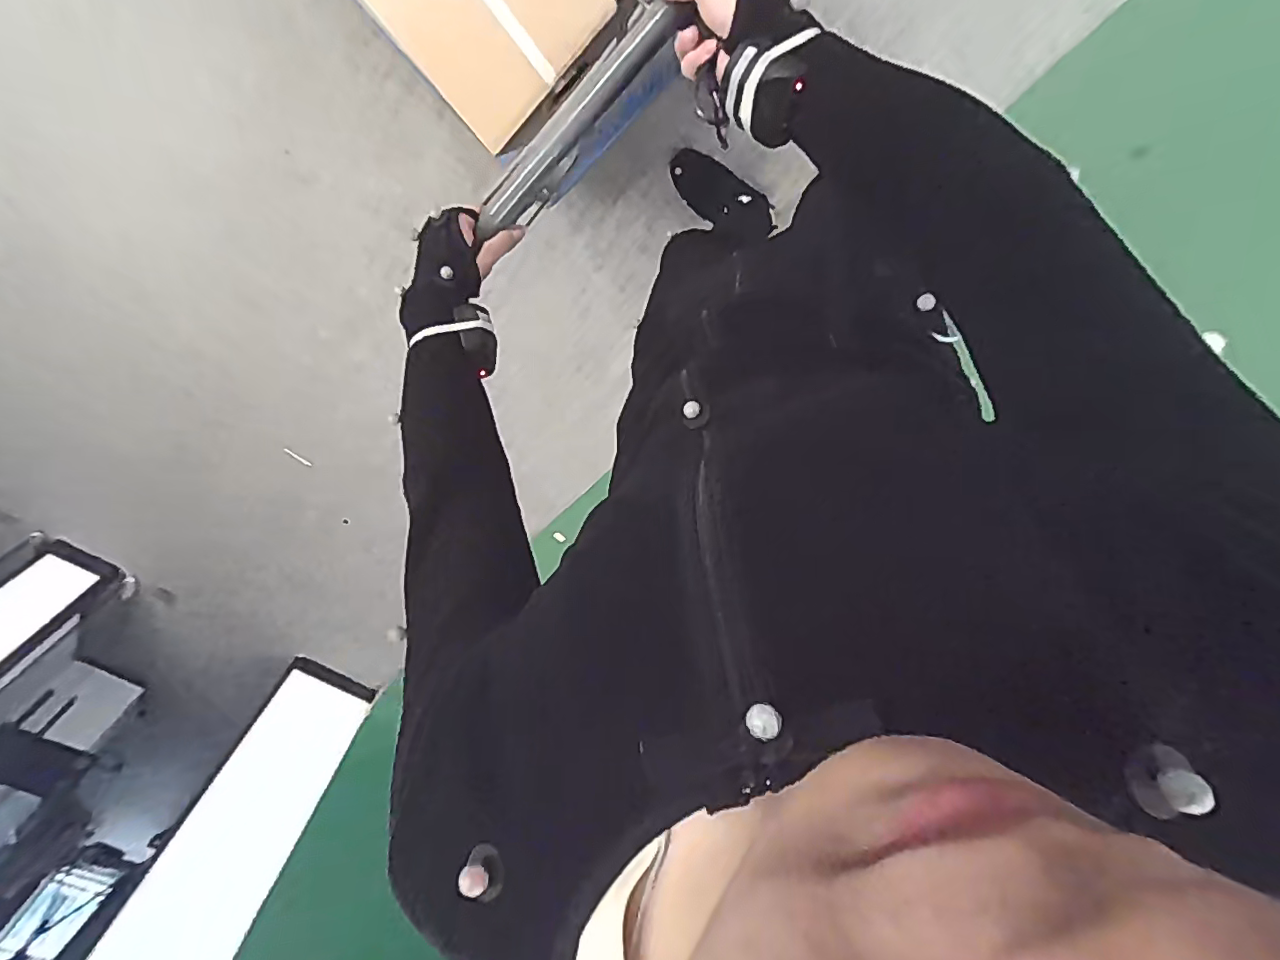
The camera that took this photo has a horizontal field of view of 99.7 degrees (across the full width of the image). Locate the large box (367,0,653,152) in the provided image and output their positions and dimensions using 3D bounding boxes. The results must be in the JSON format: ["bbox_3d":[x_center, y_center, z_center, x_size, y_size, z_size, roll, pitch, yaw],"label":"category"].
[{"bbox_3d":[-0.234,-0.846,0.897,0.320,0.320,0.408,-31,116,28],"label":"large box"}]
